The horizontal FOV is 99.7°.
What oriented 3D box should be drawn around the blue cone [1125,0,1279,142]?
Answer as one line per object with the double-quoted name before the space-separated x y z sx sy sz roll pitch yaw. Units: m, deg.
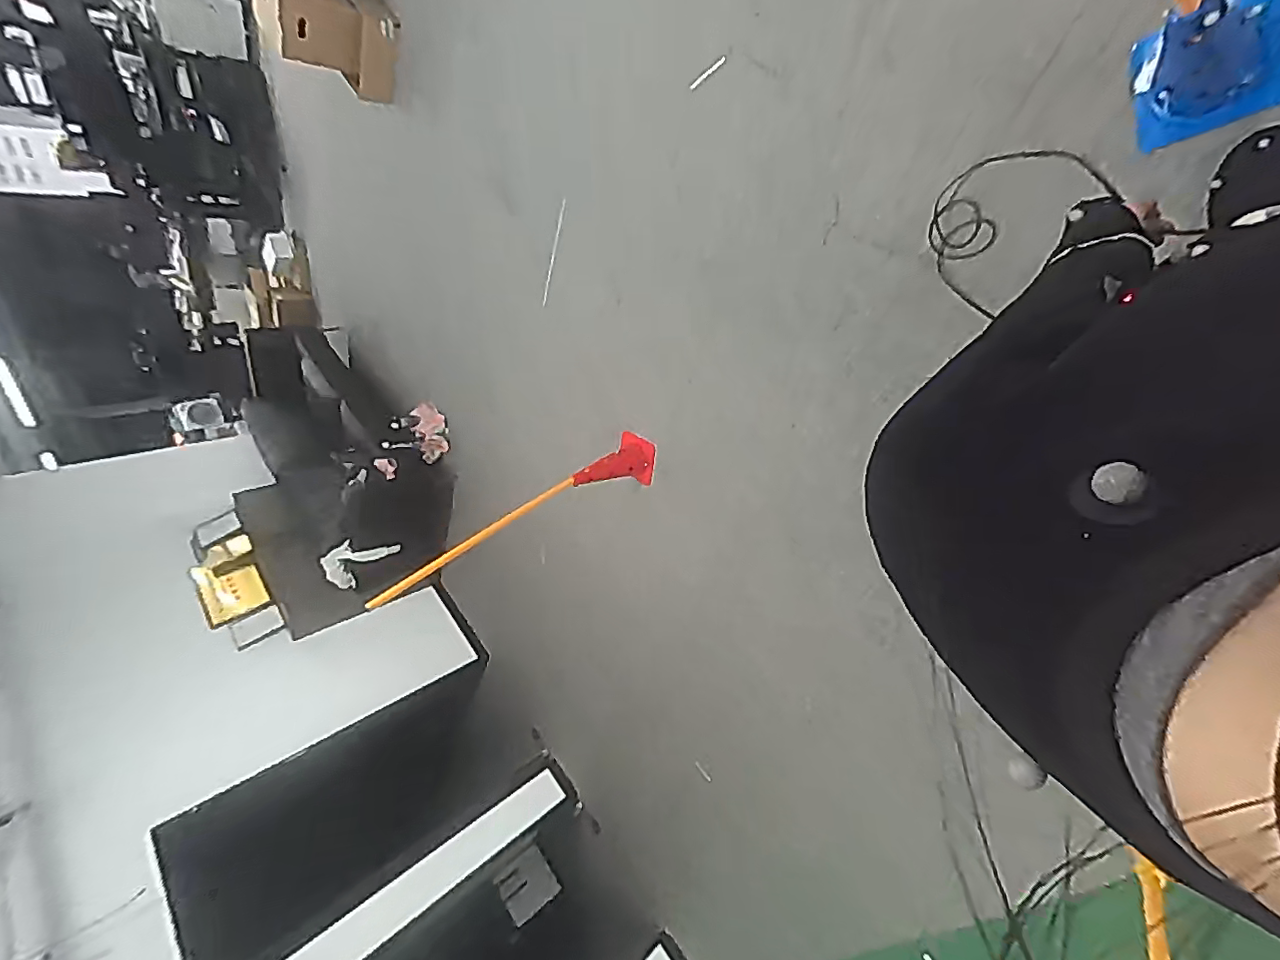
"blue cone" 0.861 -0.684 0.839 0.192 0.380 0.193 -5 99 49
